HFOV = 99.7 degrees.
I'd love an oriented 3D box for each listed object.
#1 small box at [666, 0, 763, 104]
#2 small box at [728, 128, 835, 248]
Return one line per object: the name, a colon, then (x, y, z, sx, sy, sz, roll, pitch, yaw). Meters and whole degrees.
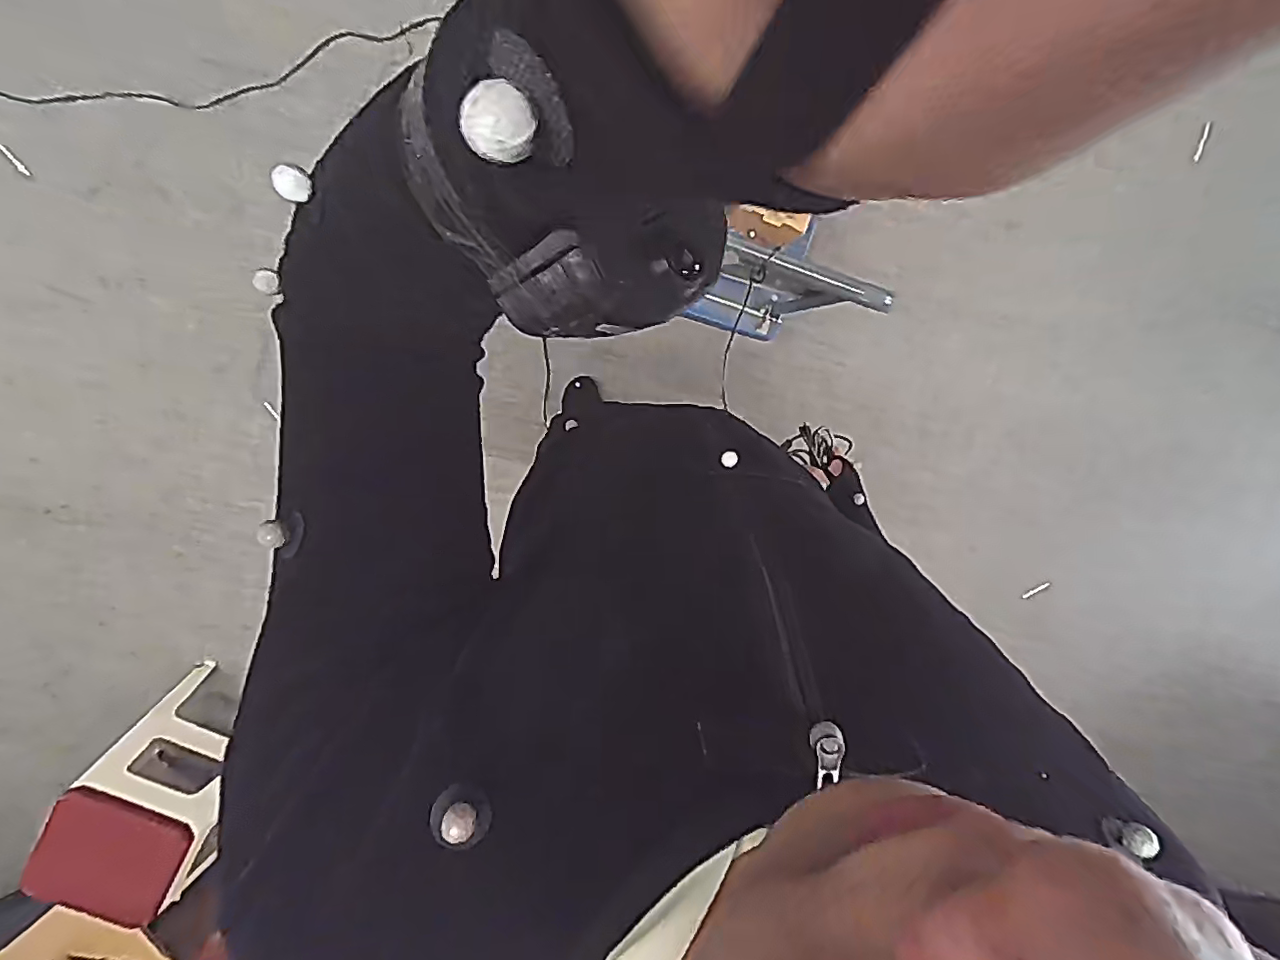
small box: (0.160, -0.981, 1.199, 0.168, 0.176, 0.179, 13, 99, -7)
small box: (0.321, -0.673, 1.269, 0.168, 0.176, 0.179, 17, 99, -7)
